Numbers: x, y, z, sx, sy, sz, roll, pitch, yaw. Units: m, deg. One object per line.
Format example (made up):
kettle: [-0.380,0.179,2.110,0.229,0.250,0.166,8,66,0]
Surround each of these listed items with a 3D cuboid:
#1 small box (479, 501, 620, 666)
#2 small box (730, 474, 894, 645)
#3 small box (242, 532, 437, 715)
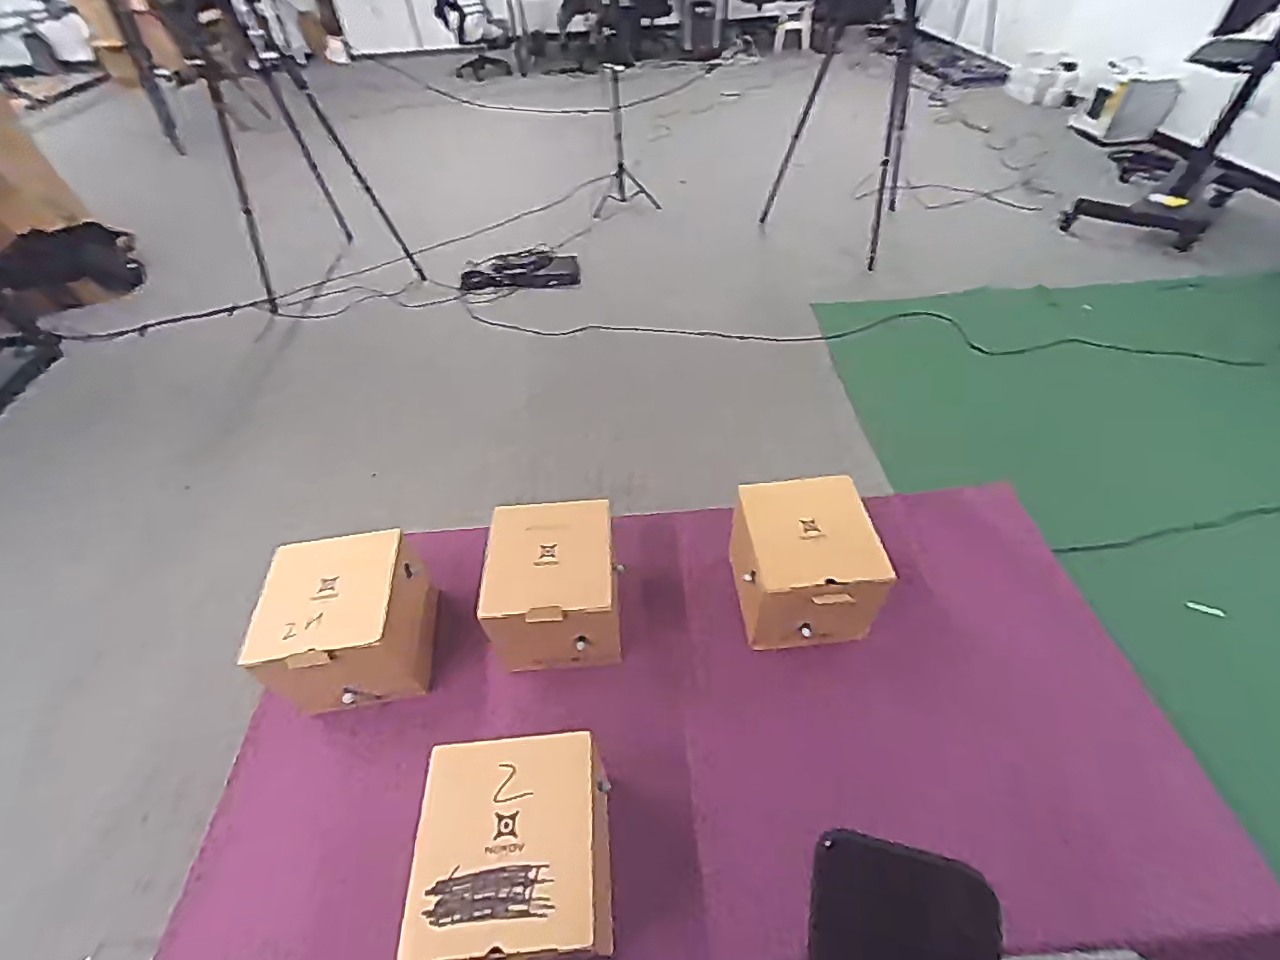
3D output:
small box: [-0.117,0.153,0.773,0.168,0.176,0.179,-4,48,-1]
small box: [0.229,0.116,0.780,0.168,0.176,0.179,-6,49,-1]
small box: [-0.395,0.199,0.750,0.168,0.176,0.179,-9,48,-4]
